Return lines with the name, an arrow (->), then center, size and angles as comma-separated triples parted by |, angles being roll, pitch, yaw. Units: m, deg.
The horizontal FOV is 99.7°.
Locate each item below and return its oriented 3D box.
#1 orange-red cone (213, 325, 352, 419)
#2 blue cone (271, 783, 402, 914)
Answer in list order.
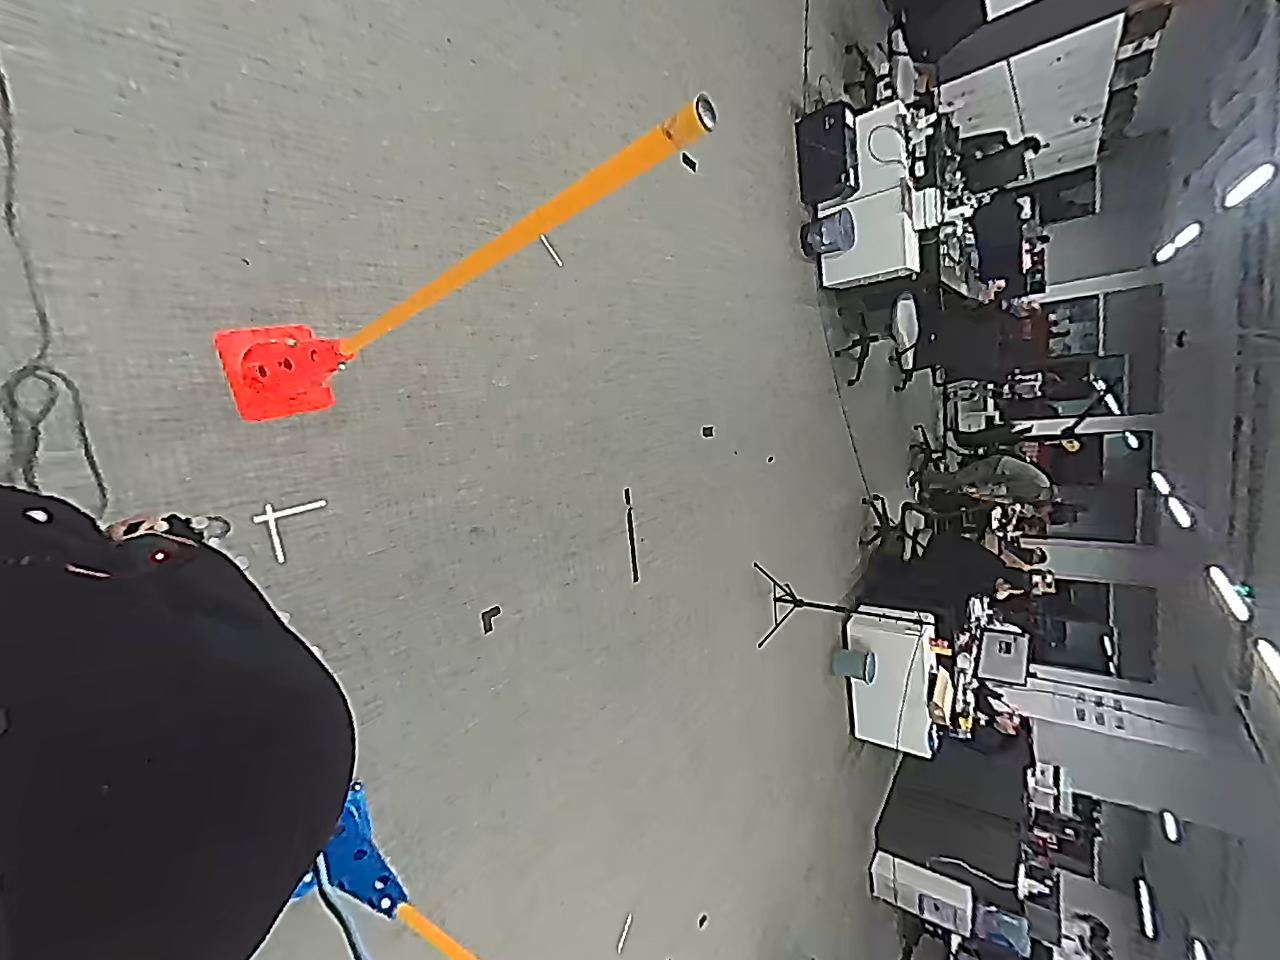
orange-red cone -> -0.689, -0.247, 1.111 | 0.199, 0.360, 0.198 | -25, 109, -48
blue cone -> -0.636, 0.860, 1.197 | 0.193, 0.380, 0.192 | -14, 100, -51
